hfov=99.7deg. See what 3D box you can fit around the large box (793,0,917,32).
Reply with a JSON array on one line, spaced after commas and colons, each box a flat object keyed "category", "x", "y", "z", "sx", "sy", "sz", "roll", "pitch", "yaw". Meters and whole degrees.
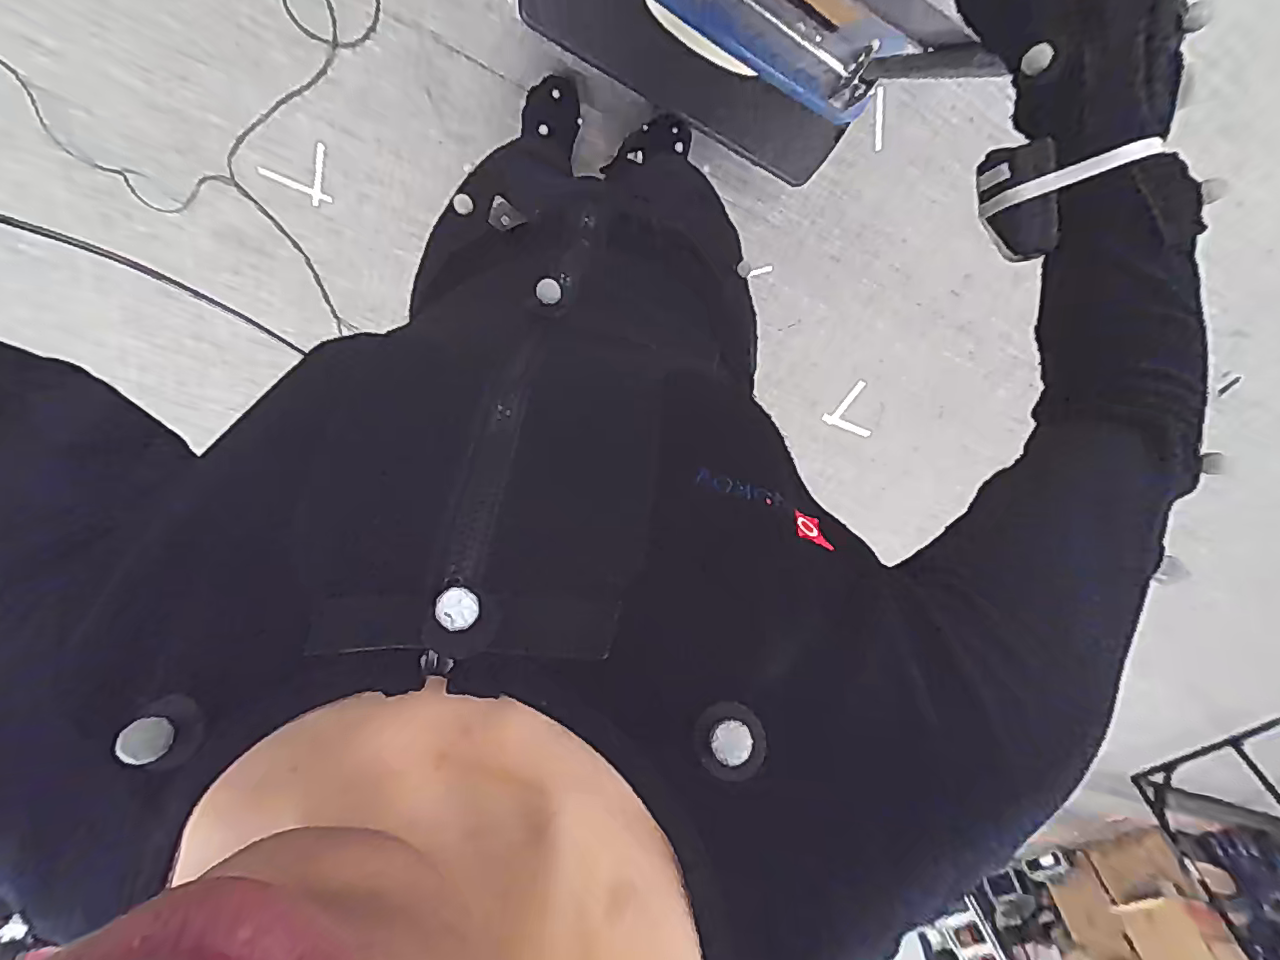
[{"category": "large box", "x": 0.215, "y": -0.802, "z": 0.594, "sx": 0.408, "sy": 0.320, "sz": 0.320, "roll": 21, "pitch": 119, "yaw": -19}]
